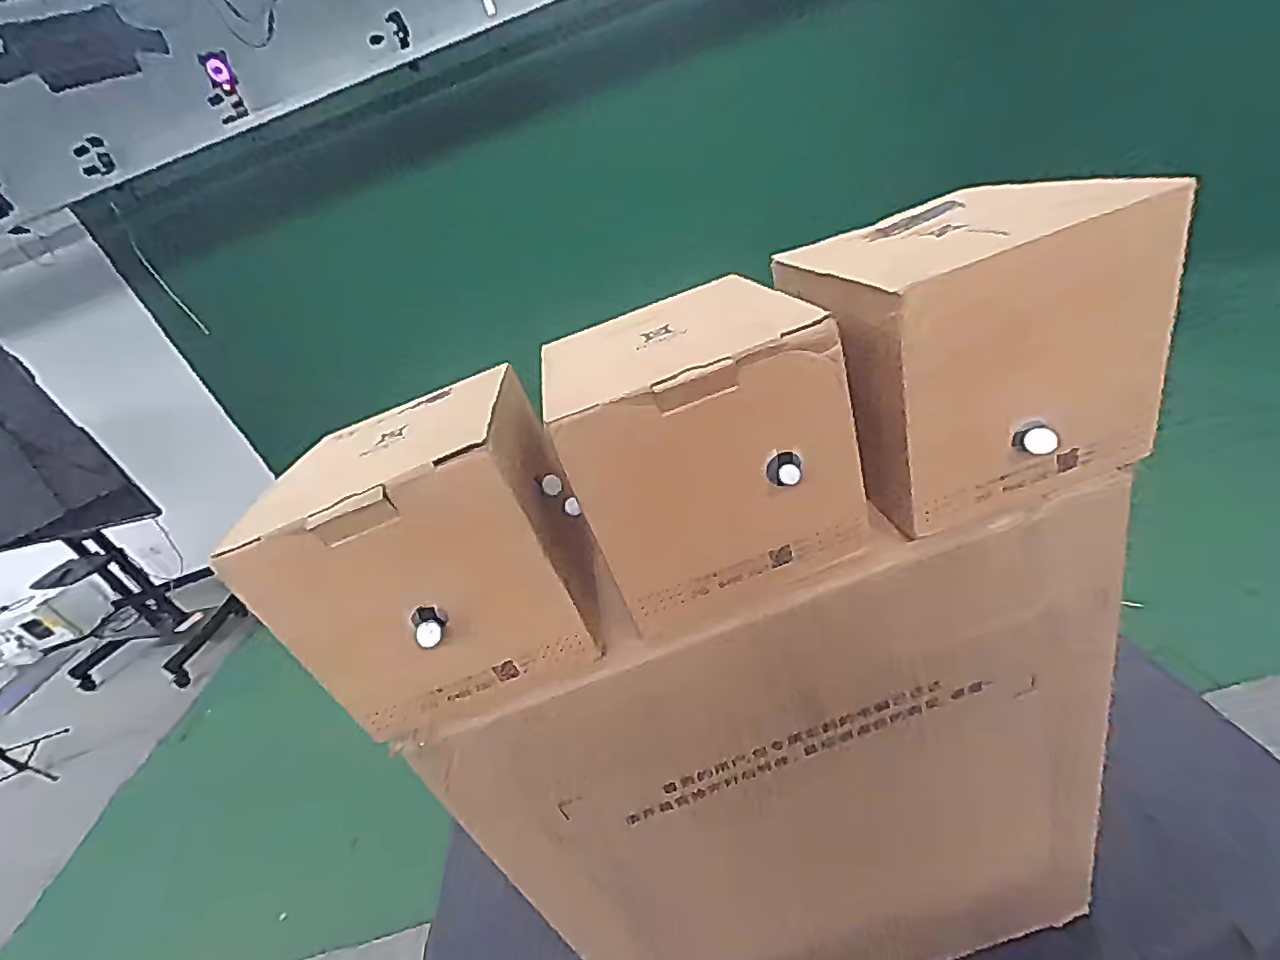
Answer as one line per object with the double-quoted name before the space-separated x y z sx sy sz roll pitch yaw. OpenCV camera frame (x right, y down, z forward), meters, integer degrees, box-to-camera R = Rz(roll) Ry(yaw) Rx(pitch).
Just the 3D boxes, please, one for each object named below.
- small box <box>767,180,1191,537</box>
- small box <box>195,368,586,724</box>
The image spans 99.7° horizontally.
"small box" 0.207 -0.090 0.379 0.168 0.176 0.179 -20 29 1
"small box" -0.146 0.047 0.394 0.168 0.176 0.179 -22 29 3
